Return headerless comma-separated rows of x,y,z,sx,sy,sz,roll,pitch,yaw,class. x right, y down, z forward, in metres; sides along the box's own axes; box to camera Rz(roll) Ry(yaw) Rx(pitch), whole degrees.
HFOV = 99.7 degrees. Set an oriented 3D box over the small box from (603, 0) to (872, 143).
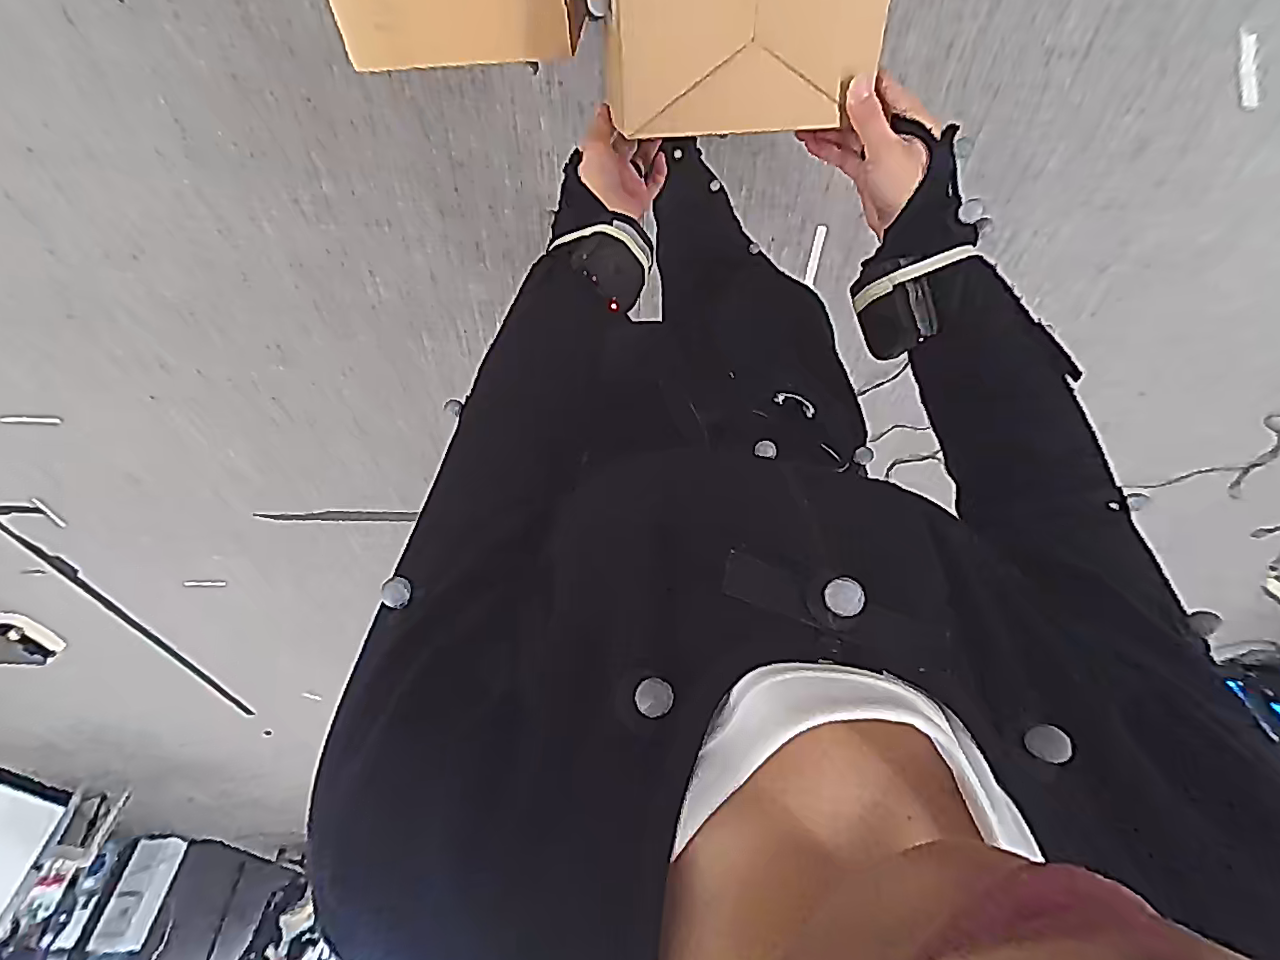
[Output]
0.065,-0.362,0.410,0.179,0.176,0.168,-6,127,-5,small box
